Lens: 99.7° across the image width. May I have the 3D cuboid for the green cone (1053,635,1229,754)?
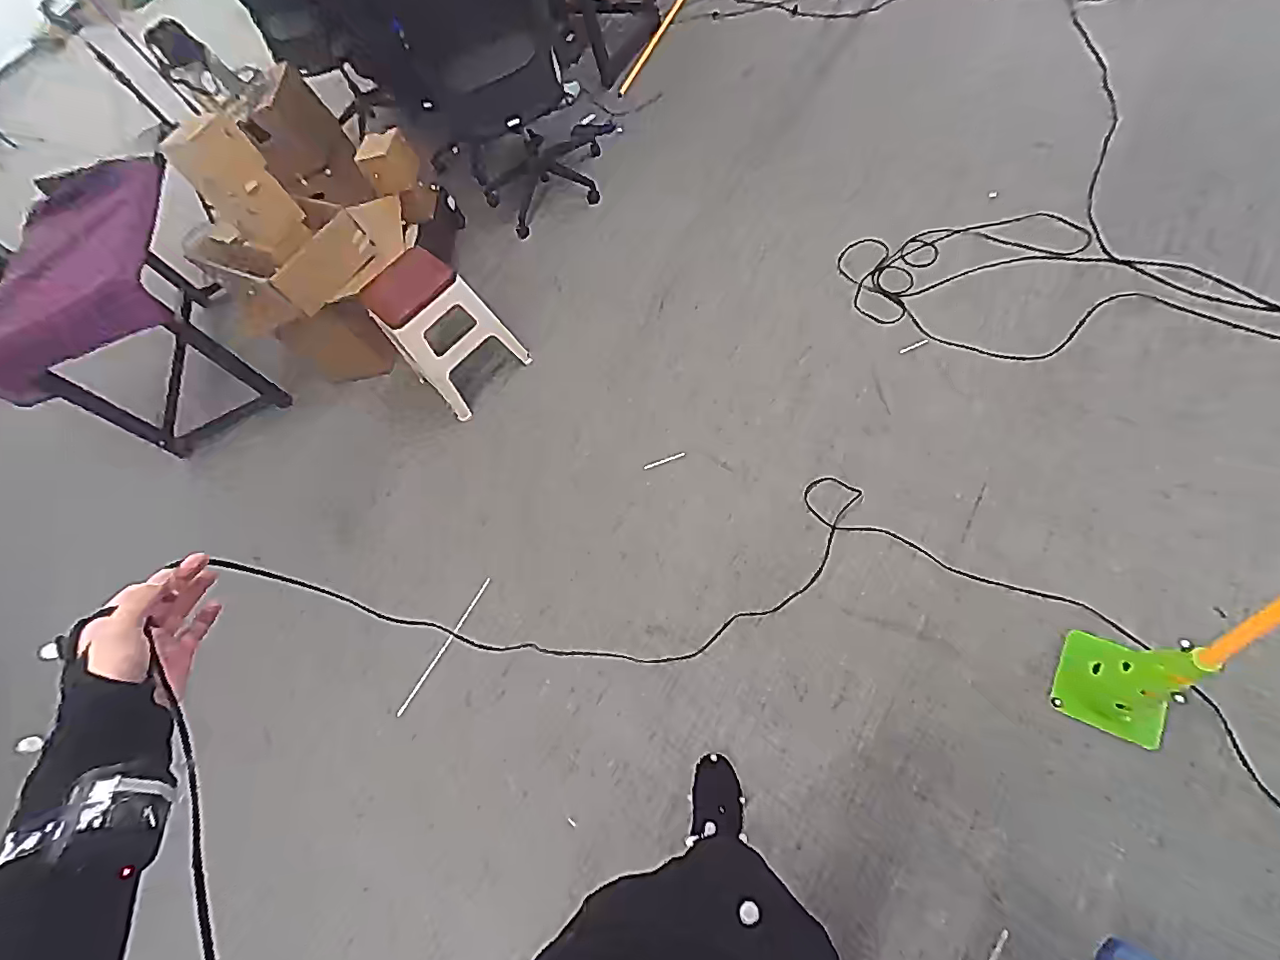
[{"bbox_3d":[1.006,0.388,1.051,0.200,0.368,0.202,21,69,25],"label":"green cone"}]
